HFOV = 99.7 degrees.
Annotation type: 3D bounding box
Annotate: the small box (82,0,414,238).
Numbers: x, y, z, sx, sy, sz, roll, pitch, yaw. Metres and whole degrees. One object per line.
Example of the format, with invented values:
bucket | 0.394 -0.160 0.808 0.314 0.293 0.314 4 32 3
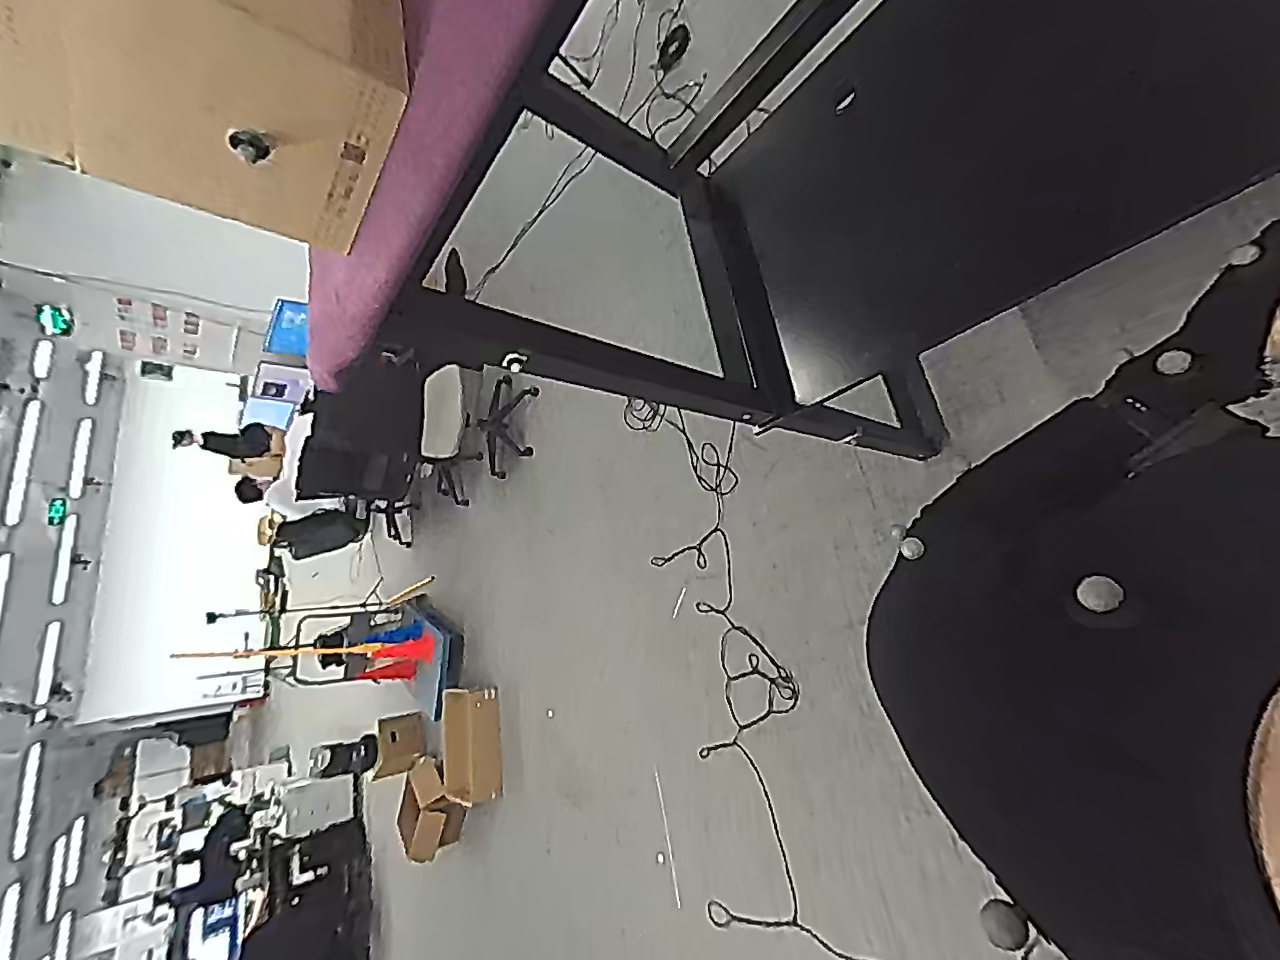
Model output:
small box | -0.277 -0.308 0.397 0.168 0.176 0.179 -31 64 43
